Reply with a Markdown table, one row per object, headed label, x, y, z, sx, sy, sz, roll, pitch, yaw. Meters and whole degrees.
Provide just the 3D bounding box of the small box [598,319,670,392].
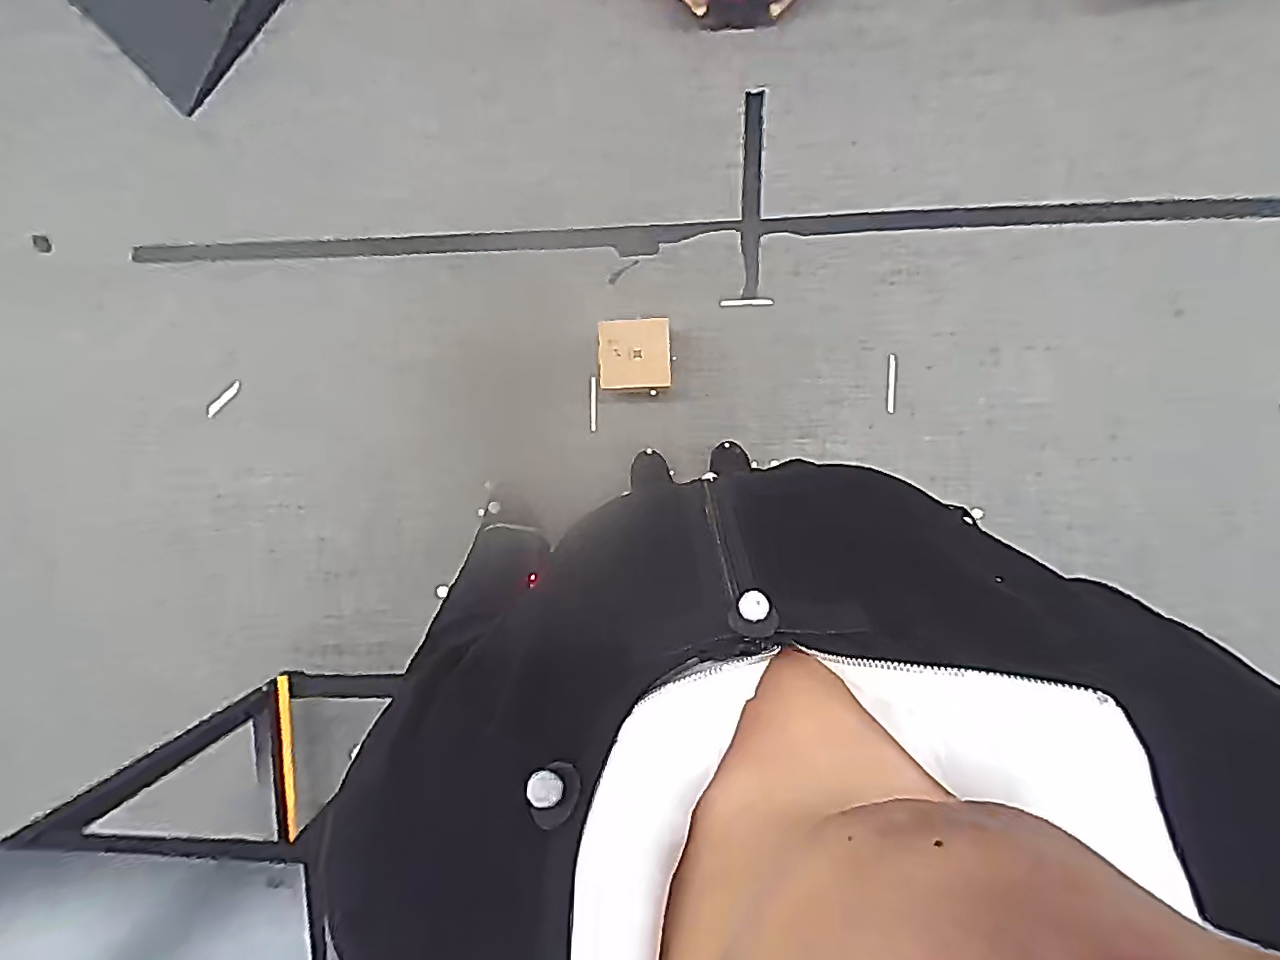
| label | x | y | z | sx | sy | sz | roll | pitch | yaw |
| --- | --- | --- | --- | --- | --- | --- | --- | --- | --- |
| small box | -0.011 | -0.319 | 1.402 | 0.179 | 0.176 | 0.168 | -1 | 95 | 4 |
